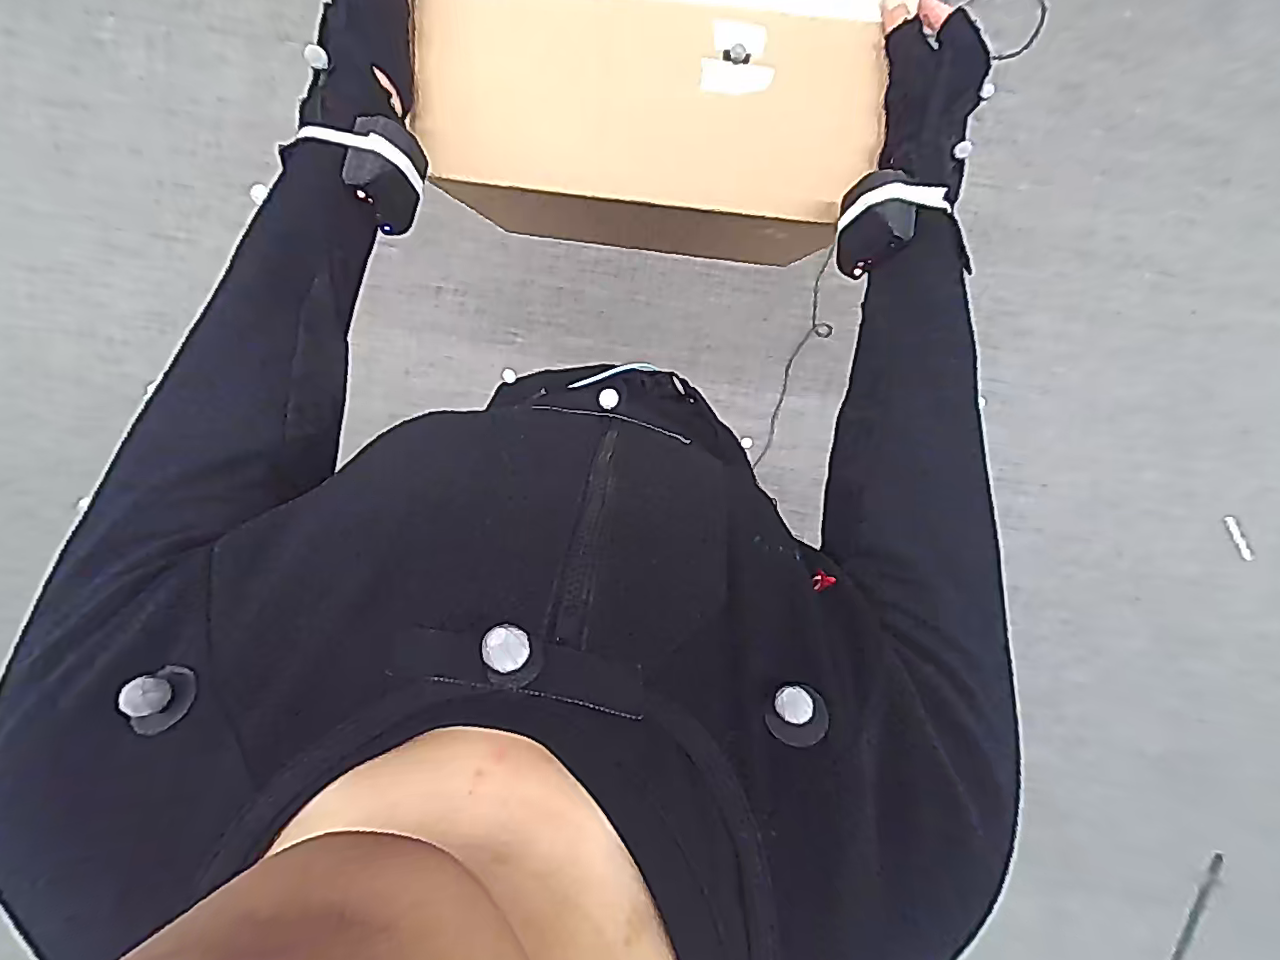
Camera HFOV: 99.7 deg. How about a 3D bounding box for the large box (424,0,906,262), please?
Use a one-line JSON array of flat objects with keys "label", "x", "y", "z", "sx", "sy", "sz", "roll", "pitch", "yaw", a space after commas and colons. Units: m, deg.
[{"label": "large box", "x": 0.021, "y": -0.436, "z": 0.588, "sx": 0.408, "sy": 0.320, "sz": 0.320, "roll": 6, "pitch": 106, "yaw": -1}]
